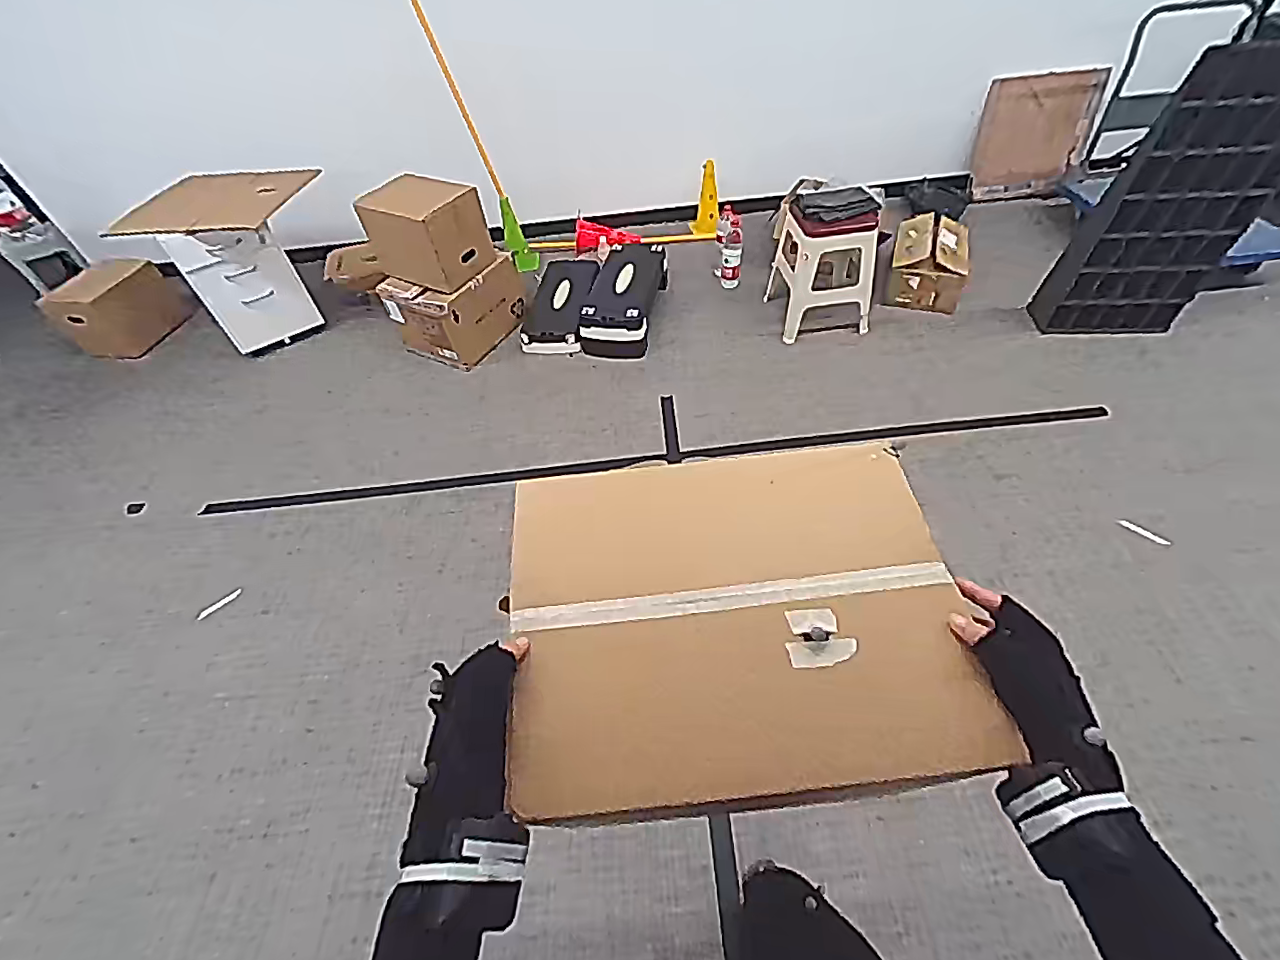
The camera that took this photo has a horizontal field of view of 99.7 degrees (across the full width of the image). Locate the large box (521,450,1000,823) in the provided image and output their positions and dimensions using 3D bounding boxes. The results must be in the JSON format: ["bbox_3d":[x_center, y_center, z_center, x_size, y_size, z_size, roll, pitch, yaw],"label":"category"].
[{"bbox_3d":[0.090,0.198,0.642,0.408,0.320,0.320,-6,57,-1],"label":"large box"}]
